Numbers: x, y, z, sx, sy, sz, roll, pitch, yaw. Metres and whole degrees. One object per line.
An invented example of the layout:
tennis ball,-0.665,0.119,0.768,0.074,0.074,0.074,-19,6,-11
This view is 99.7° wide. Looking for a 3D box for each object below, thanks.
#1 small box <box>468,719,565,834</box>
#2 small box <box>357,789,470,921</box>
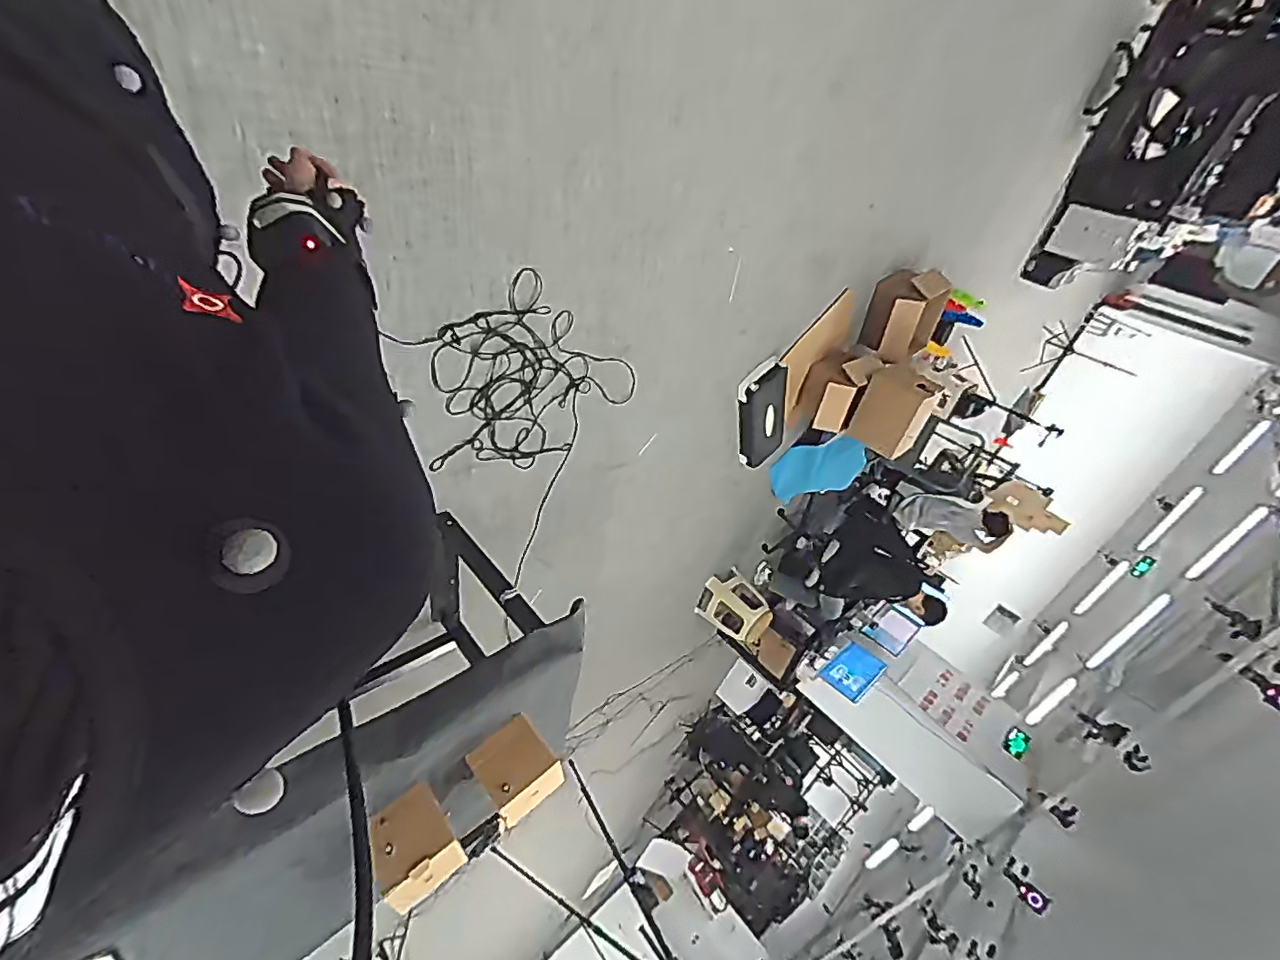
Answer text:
small box,-0.316,0.758,1.396,0.179,0.176,0.168,-31,143,-29
small box,-0.516,0.848,1.234,0.168,0.176,0.179,-29,143,-30
